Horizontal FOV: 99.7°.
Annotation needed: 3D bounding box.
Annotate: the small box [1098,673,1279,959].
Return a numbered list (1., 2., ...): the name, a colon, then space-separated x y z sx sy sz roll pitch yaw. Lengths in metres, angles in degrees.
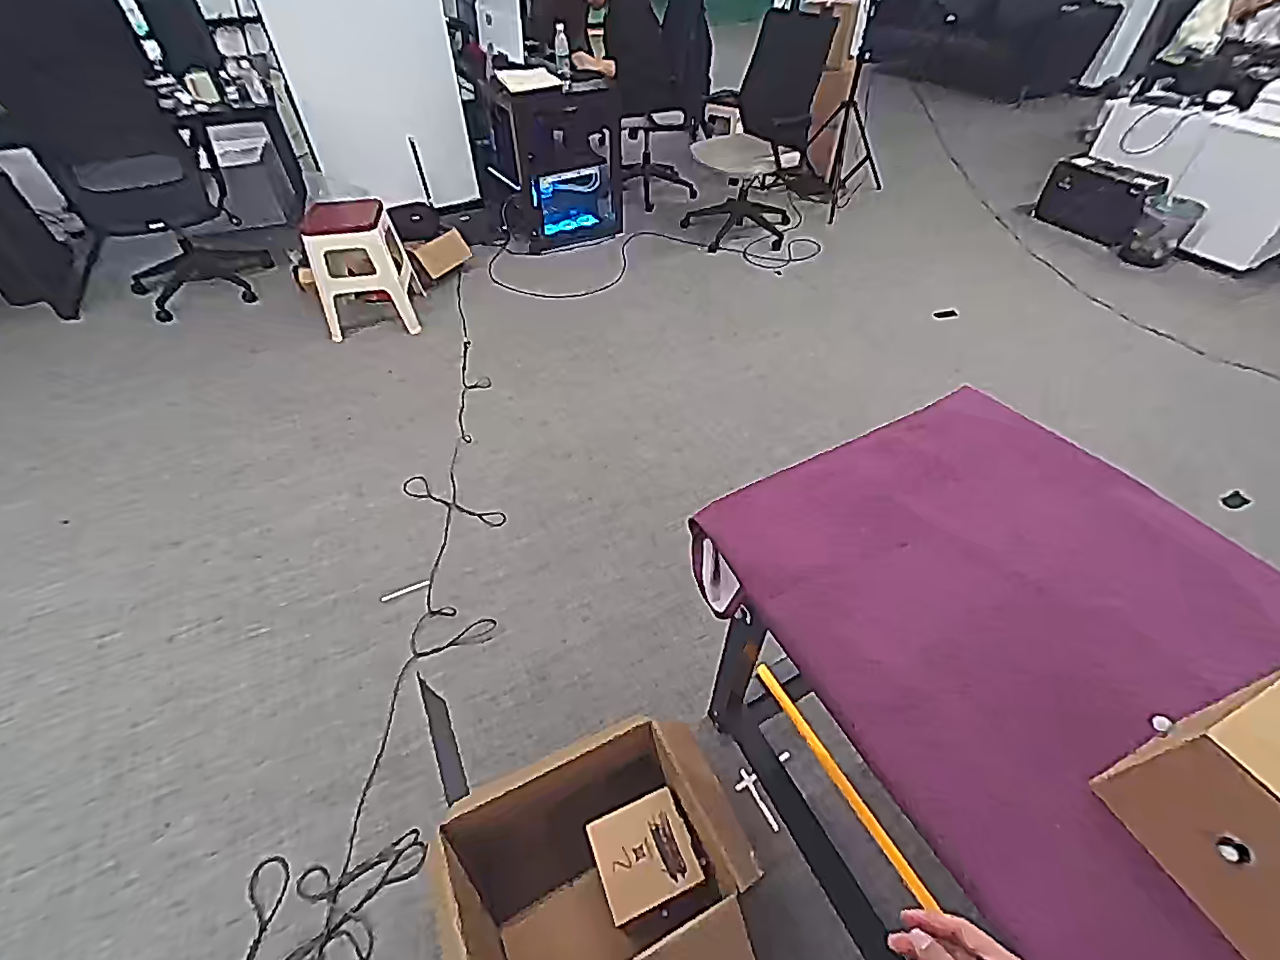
1. small box: 0.589 0.299 0.487 0.168 0.176 0.179 -19 49 -16
